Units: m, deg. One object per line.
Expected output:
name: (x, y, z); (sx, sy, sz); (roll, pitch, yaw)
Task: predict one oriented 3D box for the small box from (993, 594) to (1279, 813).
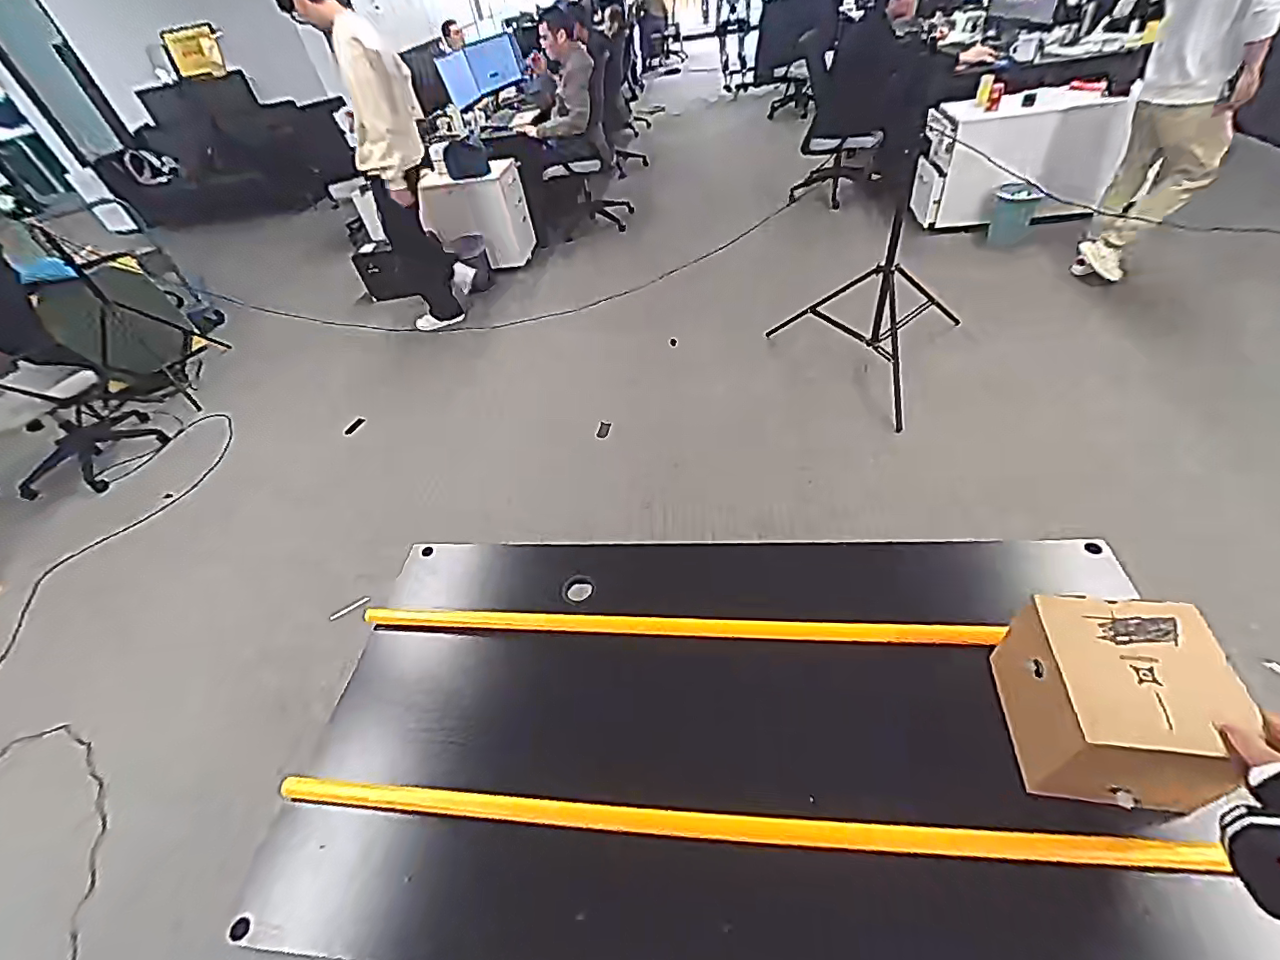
small box: (0.544, 0.258, 0.632); (0.168, 0.176, 0.179); (2, 46, 14)
